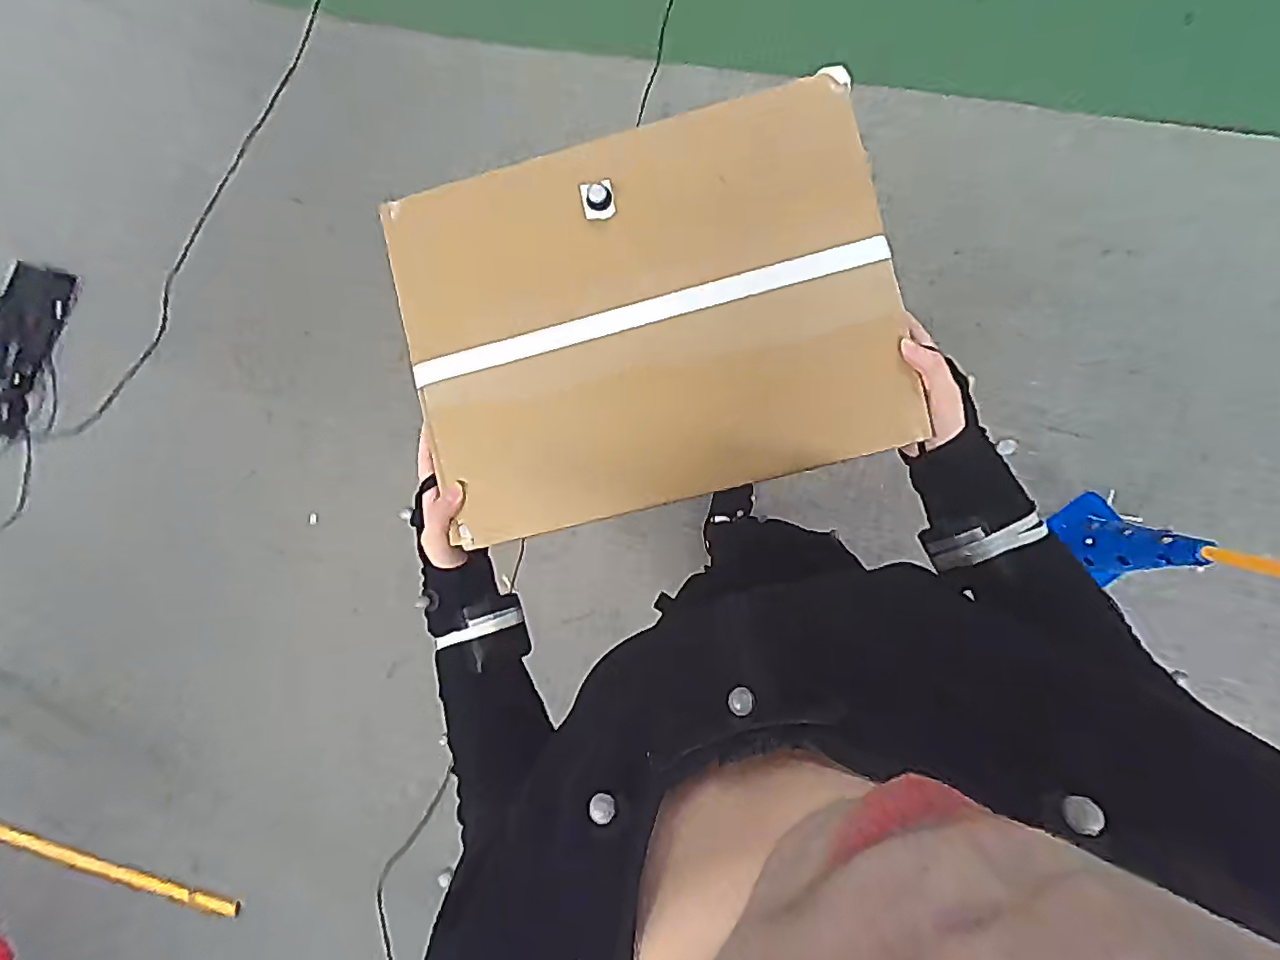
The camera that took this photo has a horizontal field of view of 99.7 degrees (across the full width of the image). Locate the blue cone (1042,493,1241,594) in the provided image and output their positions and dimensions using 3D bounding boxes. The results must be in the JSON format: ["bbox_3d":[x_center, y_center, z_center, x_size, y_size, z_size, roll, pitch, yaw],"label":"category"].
[{"bbox_3d":[1.061,0.134,1.132,0.193,0.380,0.192,-41,80,4],"label":"blue cone"}]
